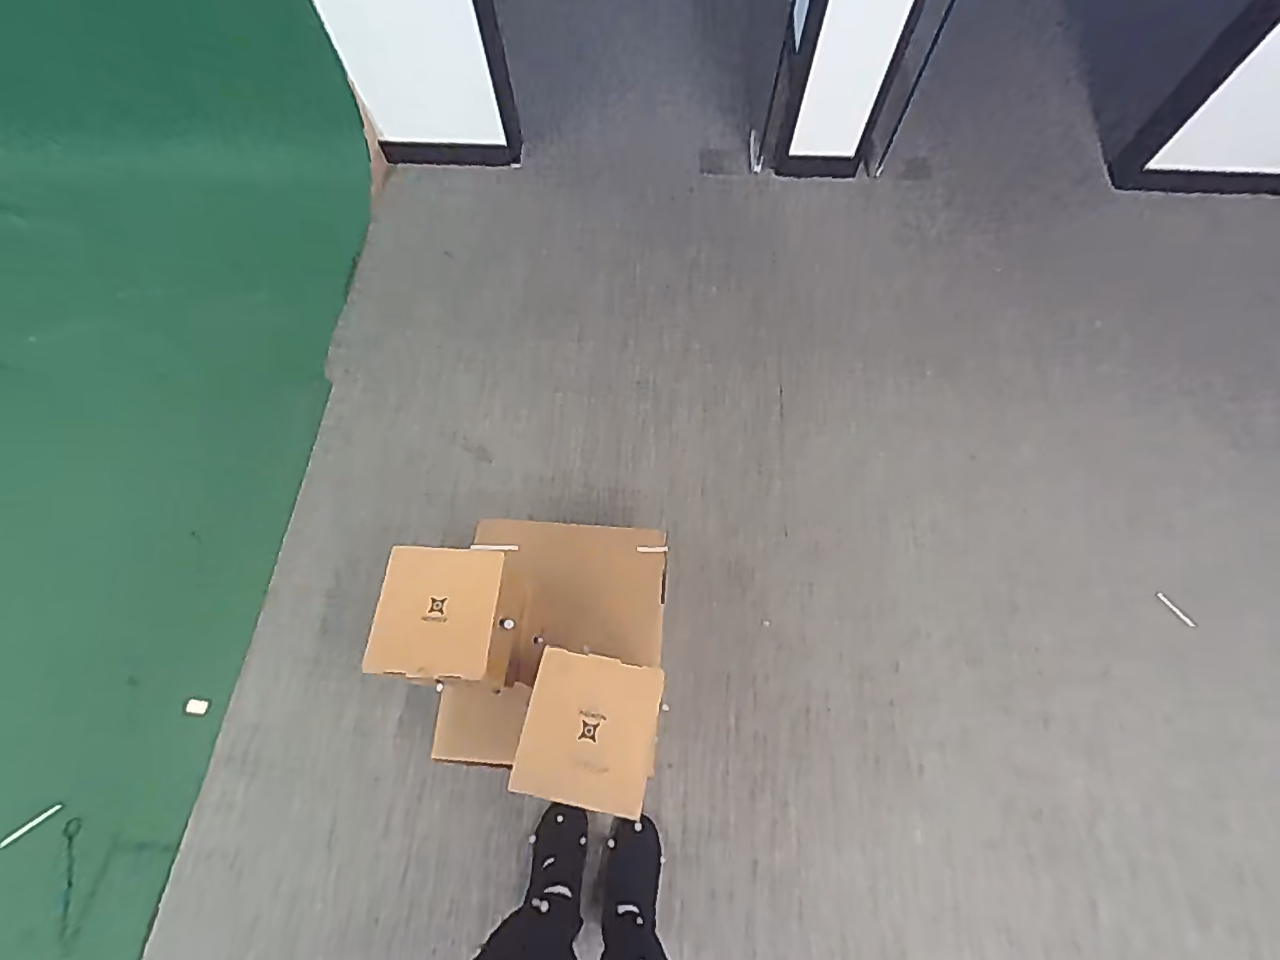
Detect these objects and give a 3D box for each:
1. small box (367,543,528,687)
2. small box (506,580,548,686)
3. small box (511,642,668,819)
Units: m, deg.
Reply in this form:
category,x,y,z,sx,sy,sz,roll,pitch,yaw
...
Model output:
category,x,y,z,sx,sy,sz,roll,pitch,yaw
small box,-0.272,0.208,0.815,0.168,0.176,0.179,4,67,2
small box,-0.267,0.274,0.964,0.179,0.176,0.168,2,65,2
small box,-0.061,0.340,0.753,0.168,0.176,0.179,11,68,5
